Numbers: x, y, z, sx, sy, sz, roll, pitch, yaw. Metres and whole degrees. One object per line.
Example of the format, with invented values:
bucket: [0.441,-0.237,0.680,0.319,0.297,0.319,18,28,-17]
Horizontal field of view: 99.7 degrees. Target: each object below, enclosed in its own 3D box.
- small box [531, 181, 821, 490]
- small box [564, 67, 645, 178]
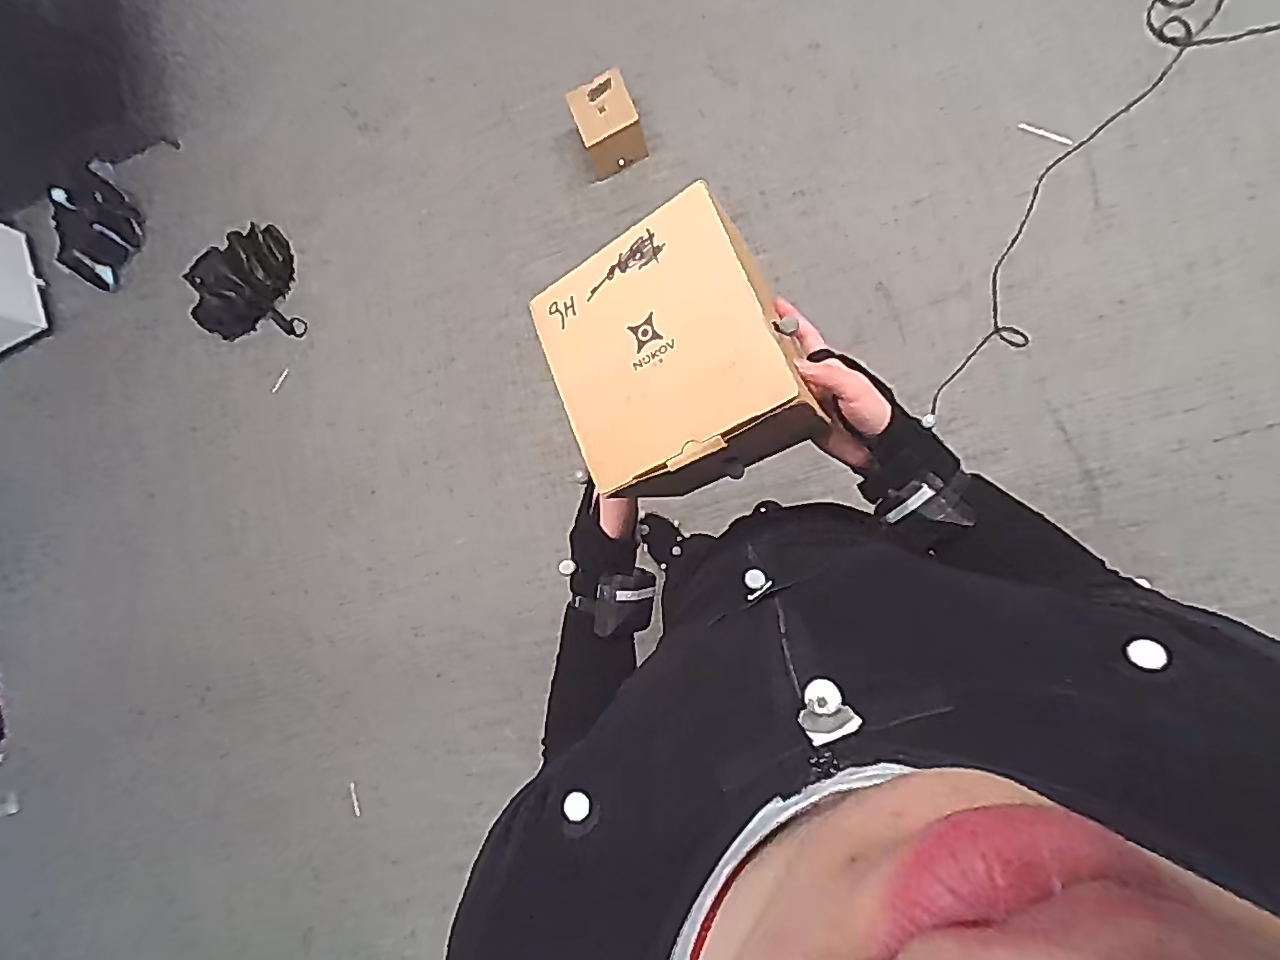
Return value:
small box: [0.042,-0.102,0.468,0.168,0.176,0.179,-25,79,22]
small box: [-0.099,-1.036,1.580,0.168,0.176,0.179,-23,85,10]
